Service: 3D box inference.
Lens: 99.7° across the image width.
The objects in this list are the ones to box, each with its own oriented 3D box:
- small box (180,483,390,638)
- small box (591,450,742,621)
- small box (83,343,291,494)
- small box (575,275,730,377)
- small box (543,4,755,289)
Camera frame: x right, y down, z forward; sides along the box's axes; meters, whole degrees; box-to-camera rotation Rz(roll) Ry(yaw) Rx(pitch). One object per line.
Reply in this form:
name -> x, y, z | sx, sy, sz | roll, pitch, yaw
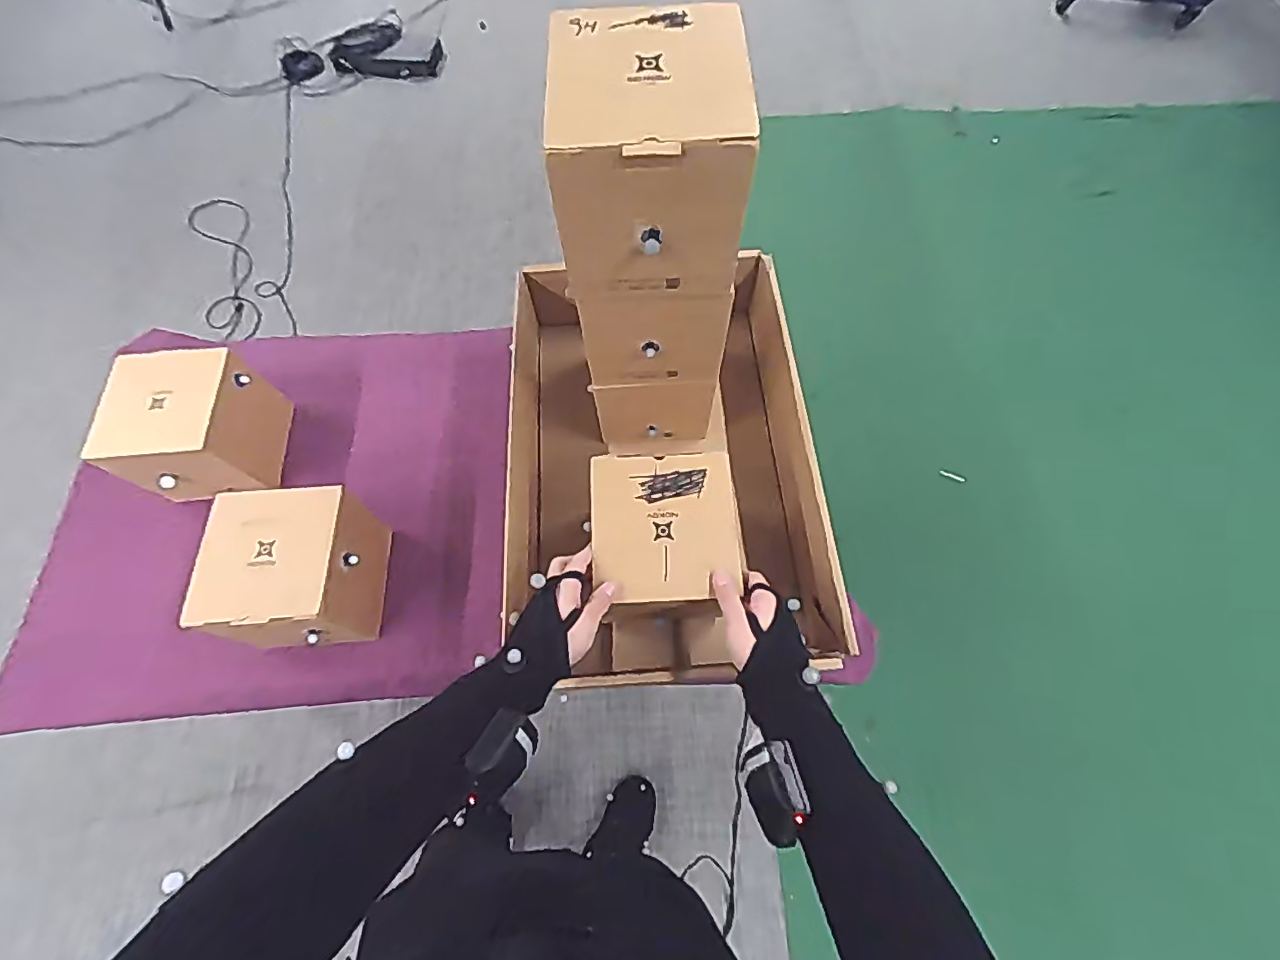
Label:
small box -> -0.468, 0.119, 0.748 | 0.168, 0.176, 0.179 | -3, 64, -2
small box -> 0.025, 0.076, 0.685 | 0.168, 0.176, 0.179 | -2, 69, -1
small box -> -0.682, -0.086, 0.842 | 0.168, 0.176, 0.179 | -5, 65, -2
small box -> 0.015, -0.239, 0.666 | 0.168, 0.176, 0.179 | -1, 67, 0
small box -> 0.009, -0.300, 0.514 | 0.168, 0.176, 0.179 | -1, 69, 0
